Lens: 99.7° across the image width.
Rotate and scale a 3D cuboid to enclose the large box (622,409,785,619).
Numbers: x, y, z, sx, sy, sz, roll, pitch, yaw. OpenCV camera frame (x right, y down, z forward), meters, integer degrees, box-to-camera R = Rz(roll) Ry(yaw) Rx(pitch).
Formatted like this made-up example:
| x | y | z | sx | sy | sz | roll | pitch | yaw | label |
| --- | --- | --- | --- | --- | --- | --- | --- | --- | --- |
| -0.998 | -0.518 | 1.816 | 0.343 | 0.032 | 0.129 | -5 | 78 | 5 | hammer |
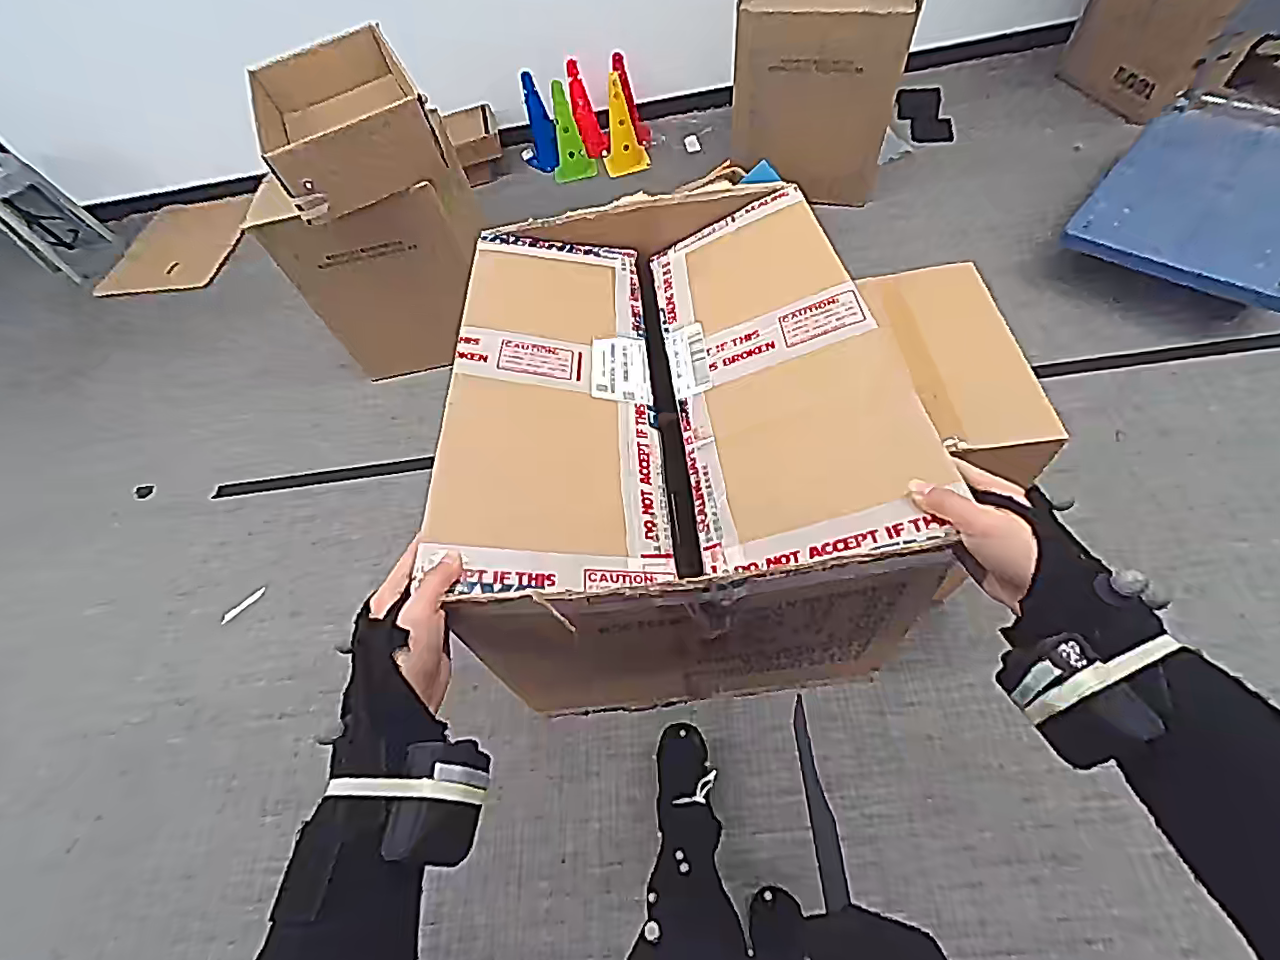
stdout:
| x | y | z | sx | sy | sz | roll | pitch | yaw | label |
| --- | --- | --- | --- | --- | --- | --- | --- | --- | --- |
| 0.144 | 0.090 | 1.334 | 0.320 | 0.320 | 0.408 | -8 | 58 | 5 | large box |
